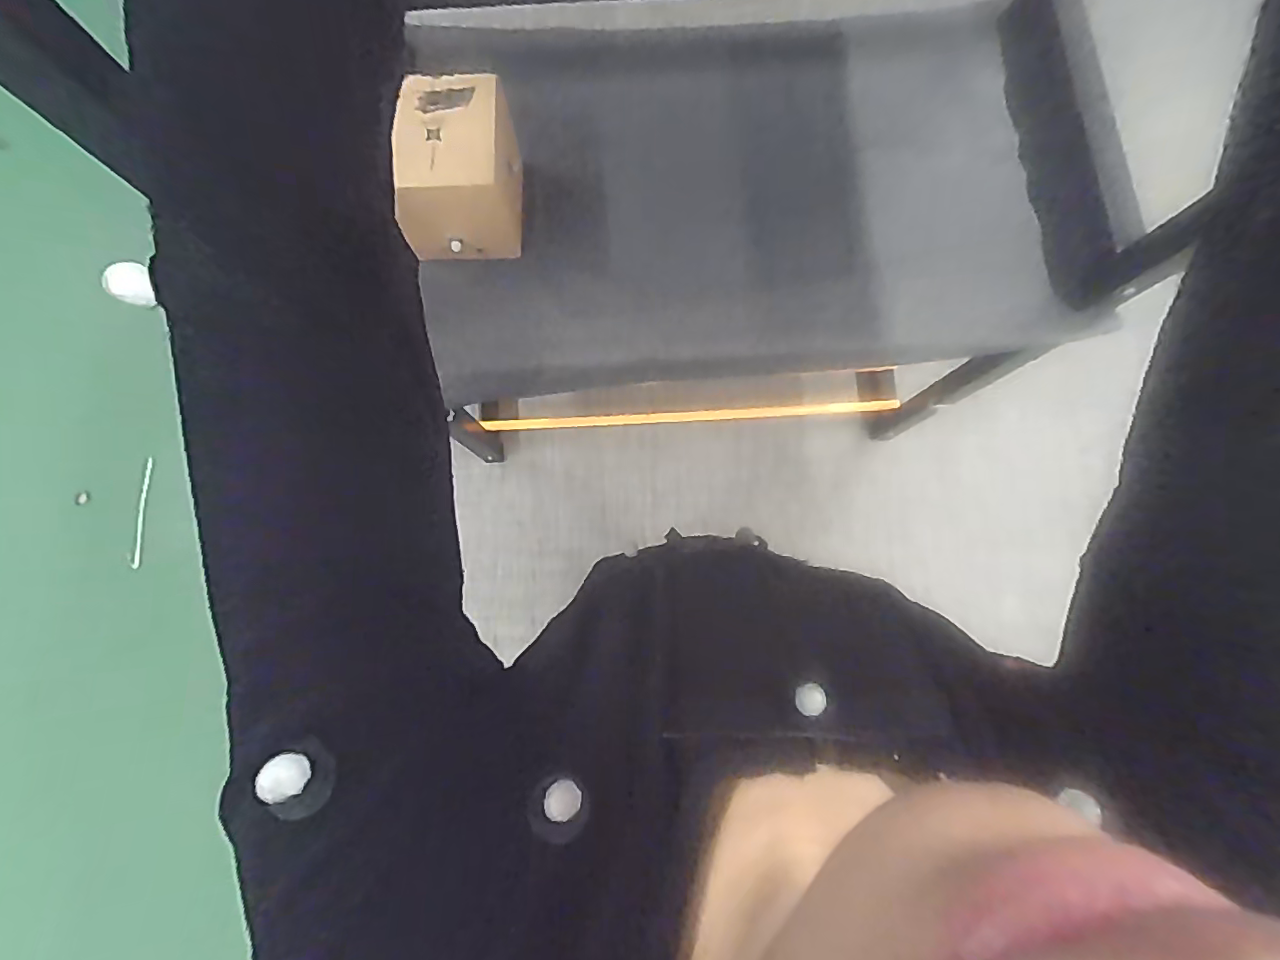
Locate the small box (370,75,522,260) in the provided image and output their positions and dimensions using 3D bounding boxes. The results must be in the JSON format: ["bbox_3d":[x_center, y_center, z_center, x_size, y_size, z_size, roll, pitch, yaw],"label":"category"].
[{"bbox_3d":[-0.275,-0.454,0.803,0.168,0.176,0.179,-2,80,0],"label":"small box"}]
